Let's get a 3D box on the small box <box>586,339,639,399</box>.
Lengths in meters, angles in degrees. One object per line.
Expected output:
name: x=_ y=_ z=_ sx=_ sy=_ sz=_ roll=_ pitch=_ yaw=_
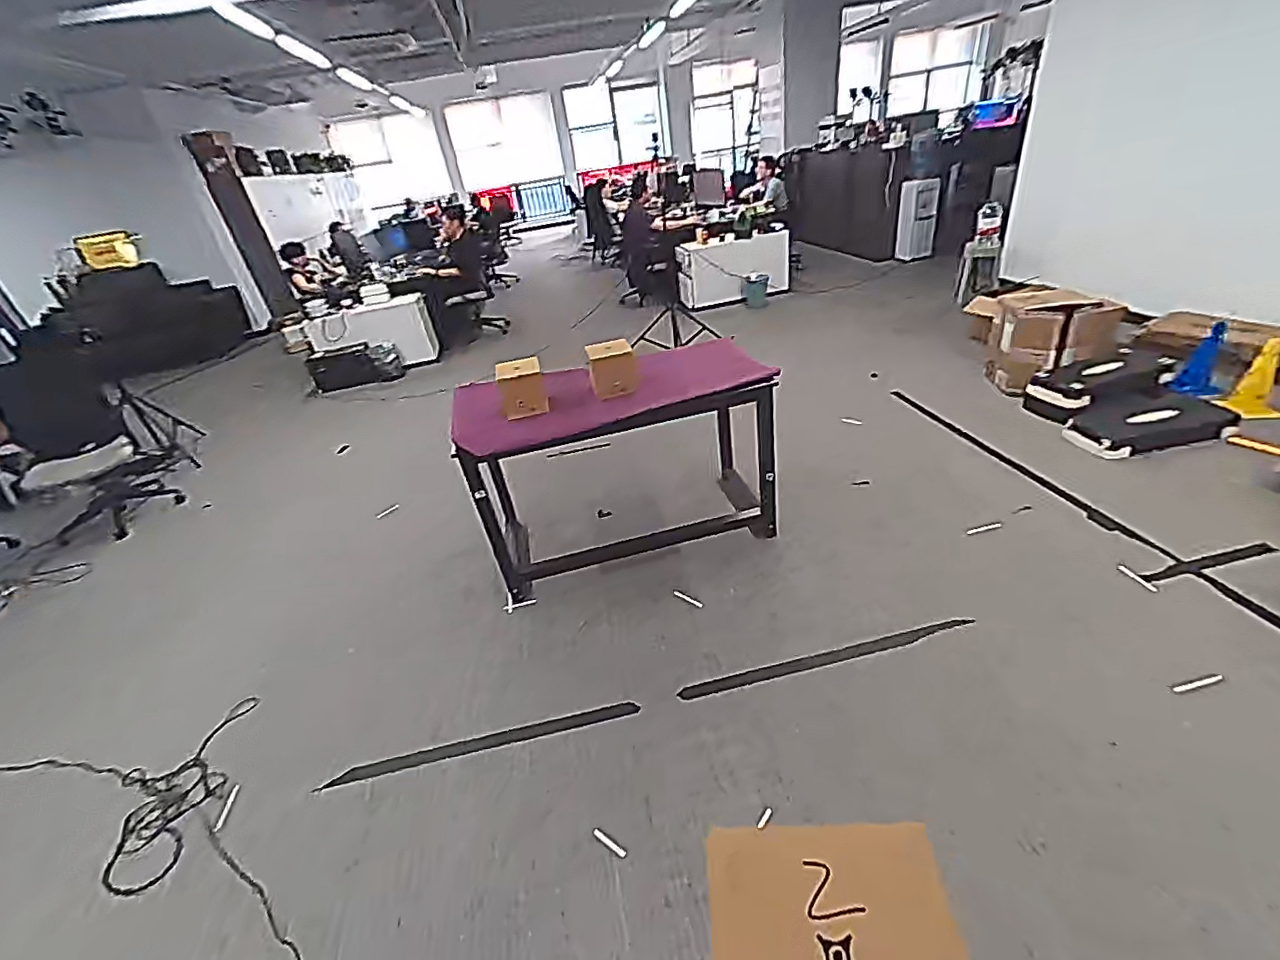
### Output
small box: x=-0.109 y=-0.436 z=2.127 sx=0.168 sy=0.176 sz=0.179 roll=-14 pitch=32 yaw=-6

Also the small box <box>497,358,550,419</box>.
small box: x=-0.450 y=-0.352 z=2.087 sx=0.168 sy=0.176 sz=0.179 roll=-13 pitch=33 yaw=-8
